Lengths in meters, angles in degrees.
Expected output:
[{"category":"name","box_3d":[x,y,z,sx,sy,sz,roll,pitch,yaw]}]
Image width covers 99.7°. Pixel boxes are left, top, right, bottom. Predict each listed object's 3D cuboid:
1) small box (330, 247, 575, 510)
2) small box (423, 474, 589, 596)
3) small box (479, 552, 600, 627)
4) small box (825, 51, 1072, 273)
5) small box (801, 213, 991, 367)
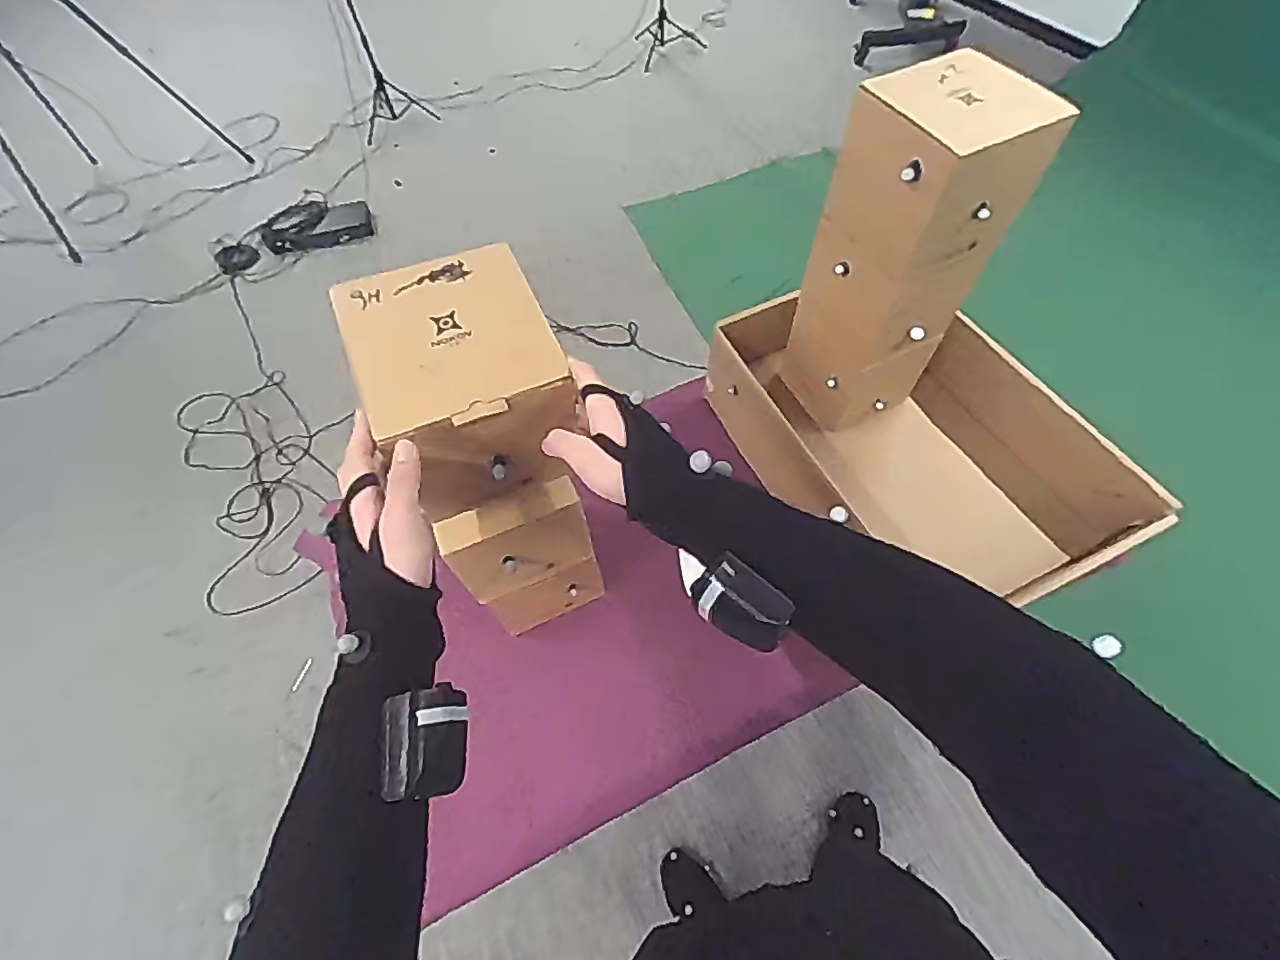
[{"category":"small box","box_3d":[-0.169,-0.086,0.534,0.168,0.176,0.179,-21,69,-14]},{"category":"small box","box_3d":[-0.177,0.034,0.715,0.168,0.176,0.179,-23,60,-11]},{"category":"small box","box_3d":[-0.171,0.115,0.855,0.168,0.176,0.179,-22,60,-11]},{"category":"small box","box_3d":[0.365,-0.387,0.680,0.168,0.176,0.179,-23,62,-10]},{"category":"small box","box_3d":[0.371,-0.307,0.826,0.168,0.176,0.179,-24,63,-10]}]
